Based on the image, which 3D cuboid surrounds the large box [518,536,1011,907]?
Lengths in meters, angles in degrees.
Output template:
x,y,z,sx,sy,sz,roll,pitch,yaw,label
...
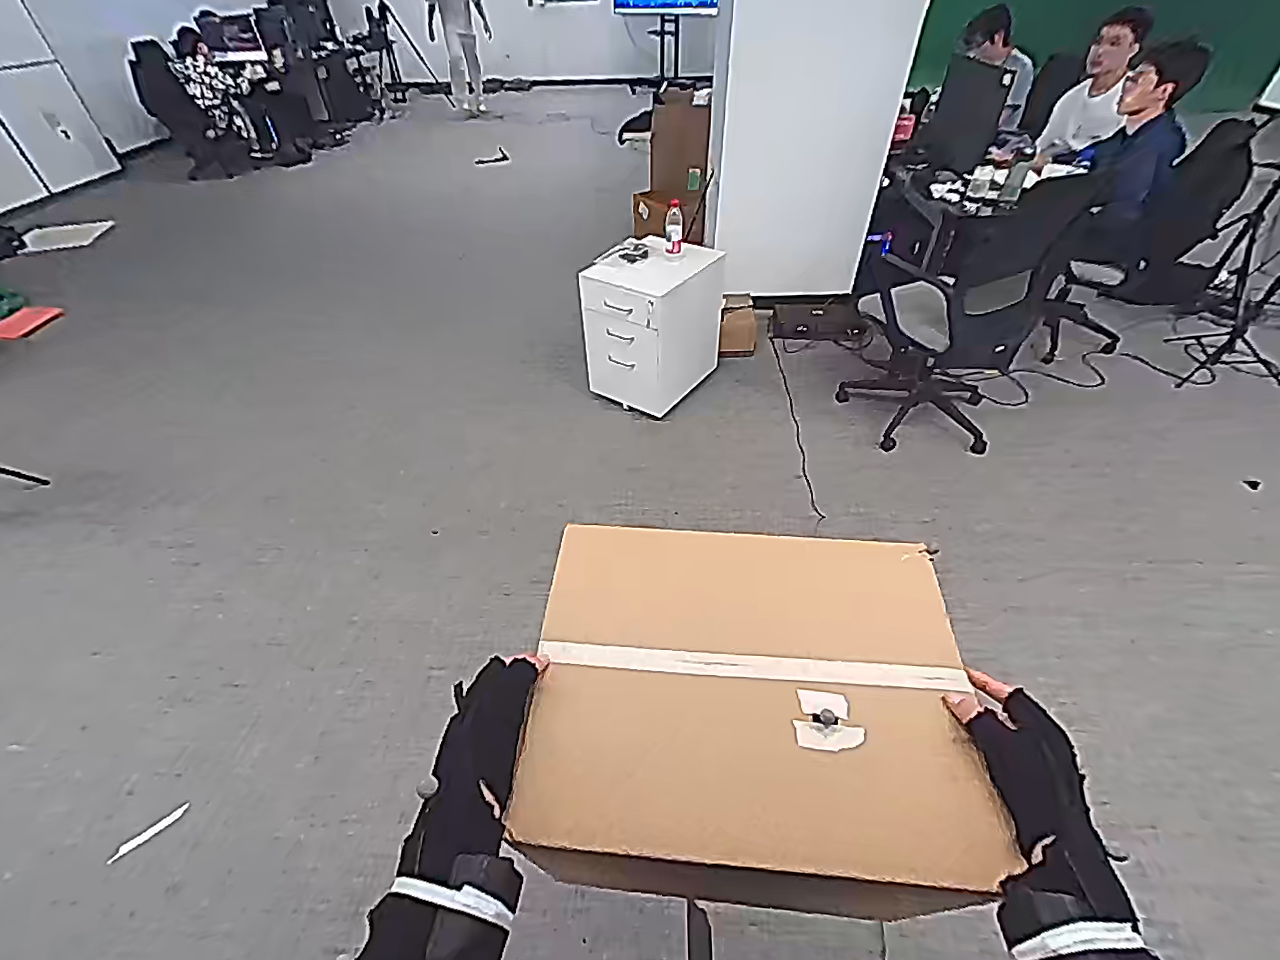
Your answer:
x,y,z,sx,sy,sz,roll,pitch,yaw,label
0.108,0.286,0.641,0.408,0.320,0.320,3,50,5,large box
